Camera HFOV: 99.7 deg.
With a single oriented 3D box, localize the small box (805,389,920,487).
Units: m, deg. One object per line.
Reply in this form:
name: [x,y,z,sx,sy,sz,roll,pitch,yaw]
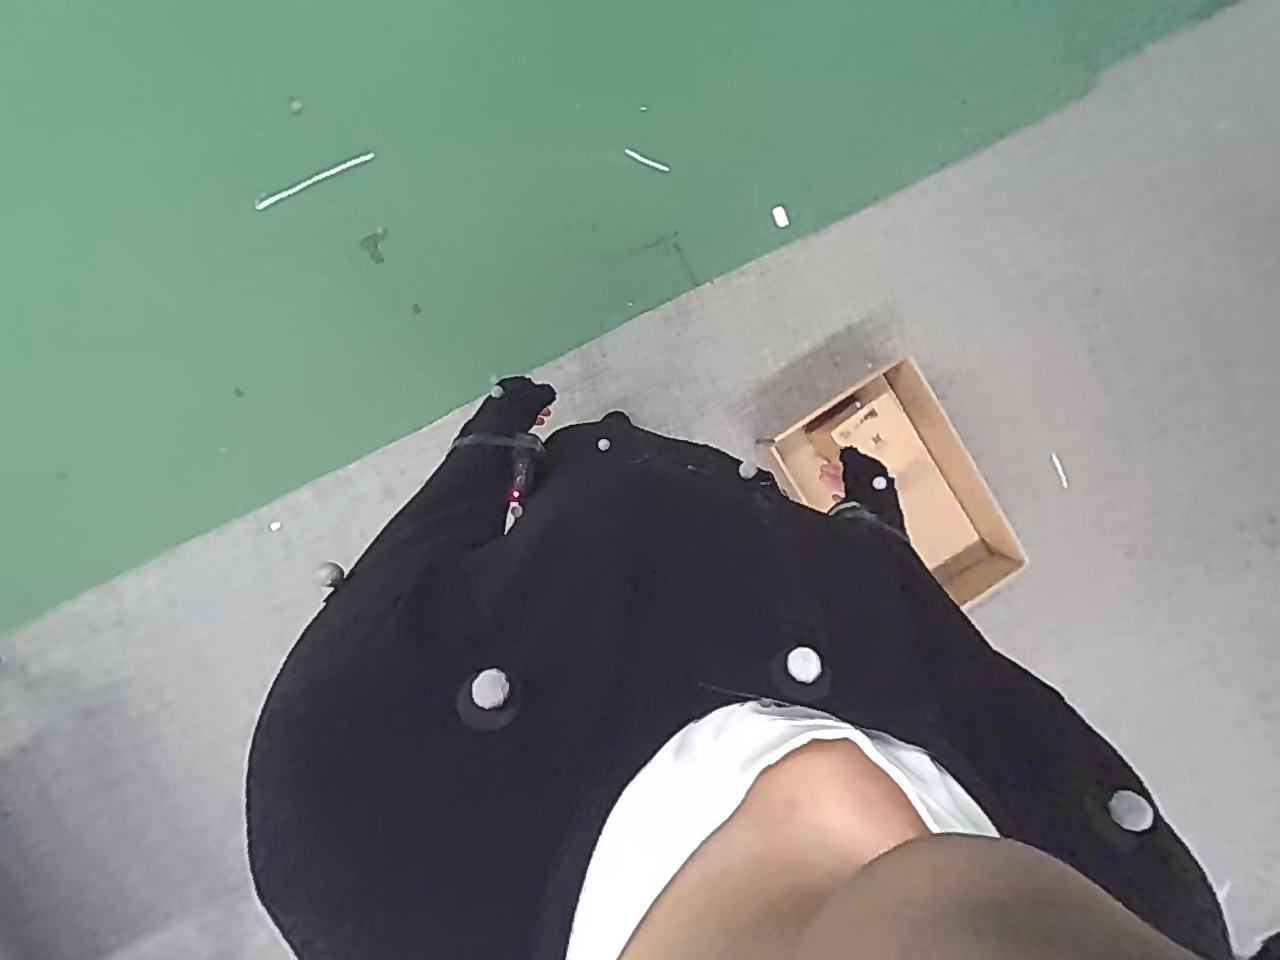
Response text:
small box: [0.545,-0.108,1.346,0.168,0.176,0.179,-35,98,0]
